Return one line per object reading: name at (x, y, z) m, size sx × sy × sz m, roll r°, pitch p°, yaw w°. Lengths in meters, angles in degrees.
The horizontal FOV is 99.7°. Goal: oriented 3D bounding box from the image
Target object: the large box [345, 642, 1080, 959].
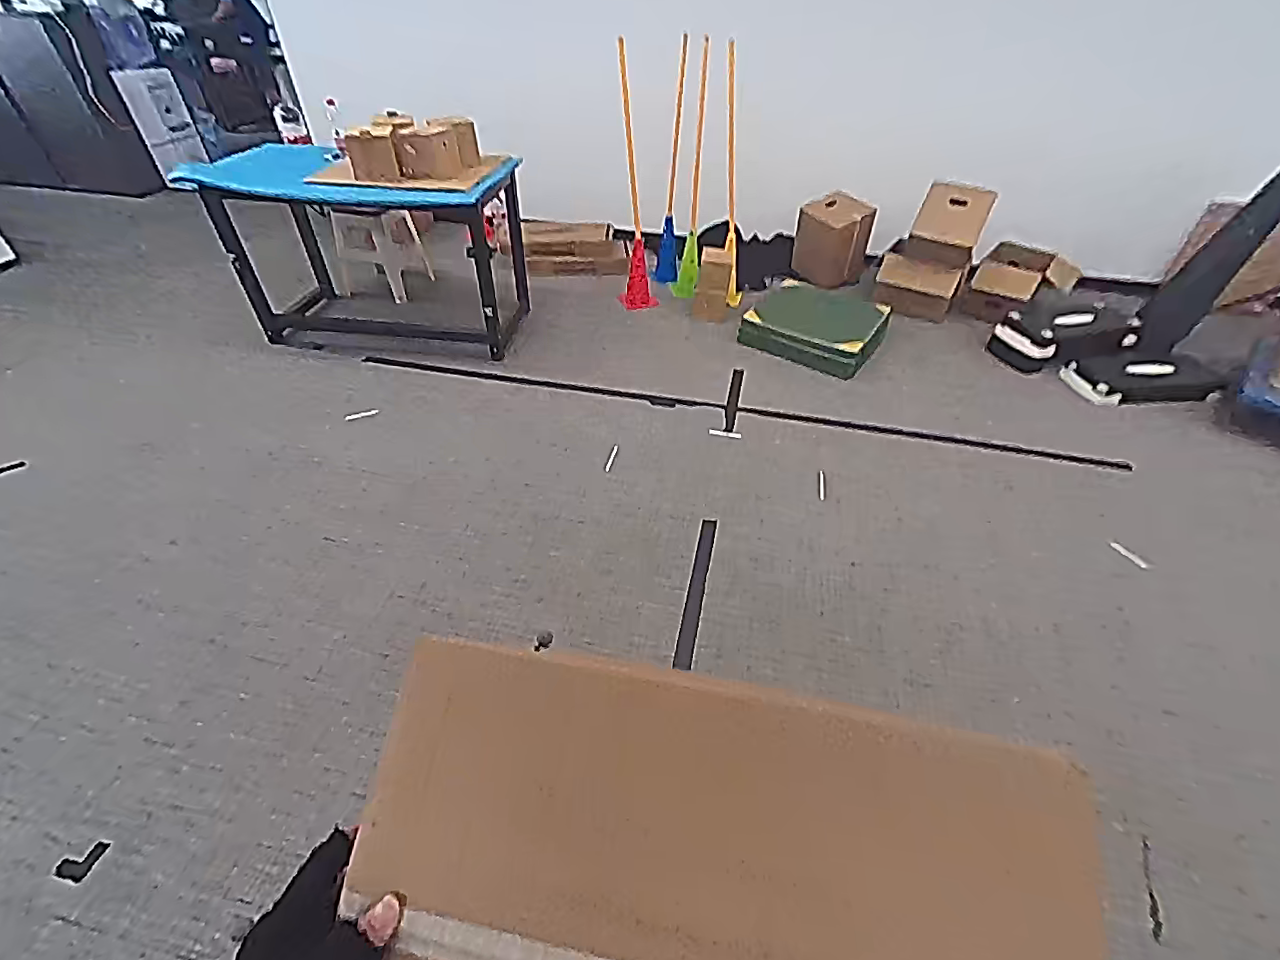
large box at (0.041, 0.324, 0.439) m, size 0.408 × 0.320 × 0.320 m, roll 7°, pitch 73°, yaw 10°
